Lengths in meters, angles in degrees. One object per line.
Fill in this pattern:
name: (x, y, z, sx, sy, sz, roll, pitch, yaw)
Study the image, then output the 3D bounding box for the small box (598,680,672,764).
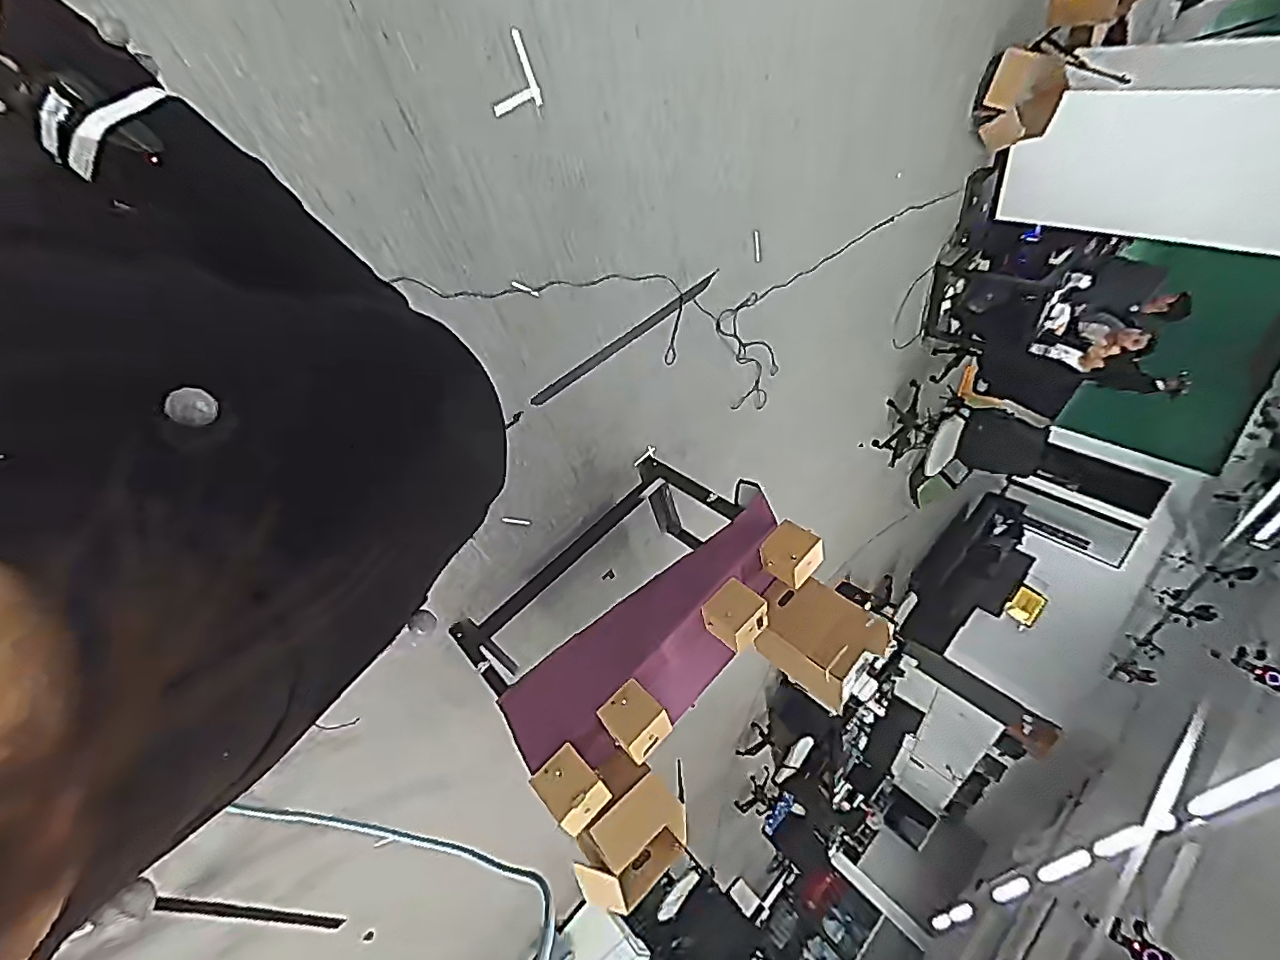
small box: (-0.017, 0.812, 1.828, 0.168, 0.176, 0.179, -39, 139, -22)

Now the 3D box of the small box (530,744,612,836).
small box: (-0.219, 0.981, 1.720, 0.168, 0.176, 0.179, -39, 140, -23)

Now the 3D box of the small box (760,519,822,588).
small box: (0.597, 0.285, 2.135, 0.179, 0.176, 0.168, -42, 140, -17)
